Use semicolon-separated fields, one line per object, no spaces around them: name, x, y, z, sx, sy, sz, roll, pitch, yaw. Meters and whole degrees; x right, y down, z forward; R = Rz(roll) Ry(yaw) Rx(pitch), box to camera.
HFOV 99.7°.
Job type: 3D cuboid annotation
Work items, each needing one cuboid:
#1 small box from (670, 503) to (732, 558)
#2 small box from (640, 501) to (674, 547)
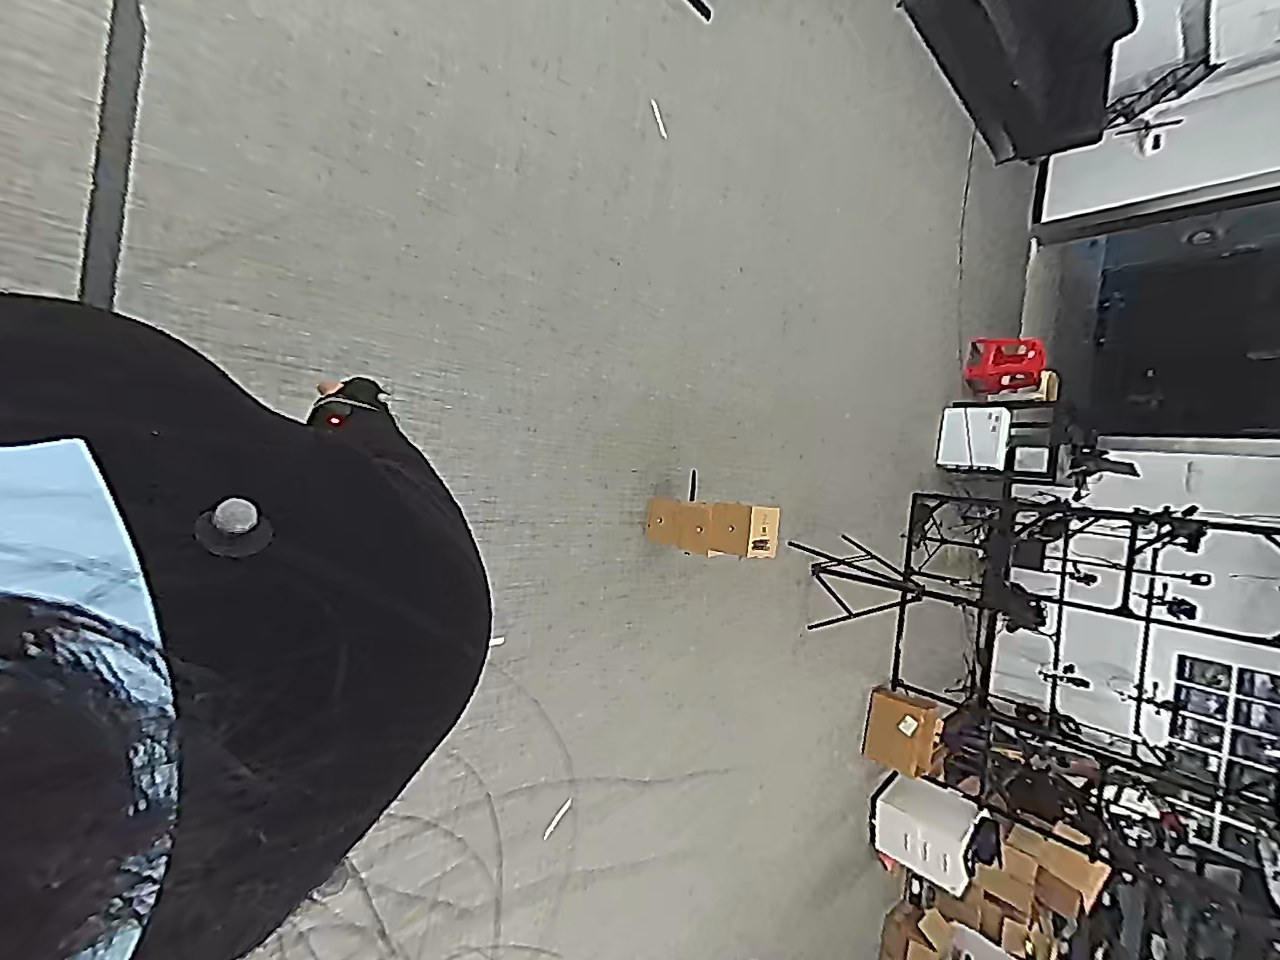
small box;0.224;0.183;2.012;0.168;0.176;0.179;-3;96;-43
small box;0.119;0.176;2.136;0.179;0.176;0.168;9;88;-44
